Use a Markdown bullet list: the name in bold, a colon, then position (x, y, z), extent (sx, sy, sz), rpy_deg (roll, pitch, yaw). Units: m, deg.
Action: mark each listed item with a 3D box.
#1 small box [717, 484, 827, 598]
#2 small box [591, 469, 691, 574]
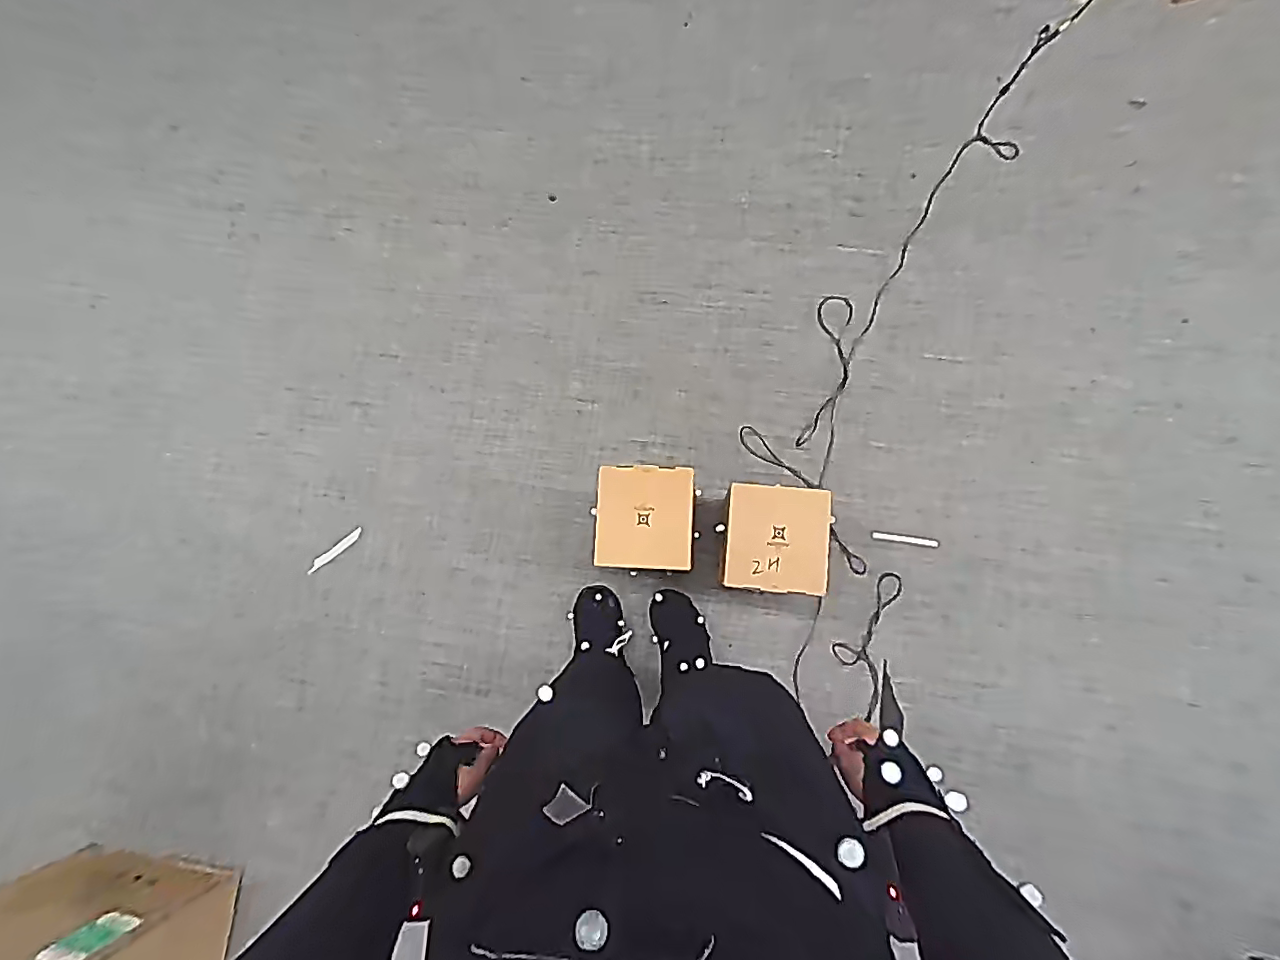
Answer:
- **small box**: position (0.230, 0.111, 0.972), extent (0.168, 0.176, 0.179), rpy_deg (5, 83, 7)
- **small box**: position (0.009, 0.080, 1.002), extent (0.168, 0.176, 0.179), rpy_deg (2, 81, 6)
